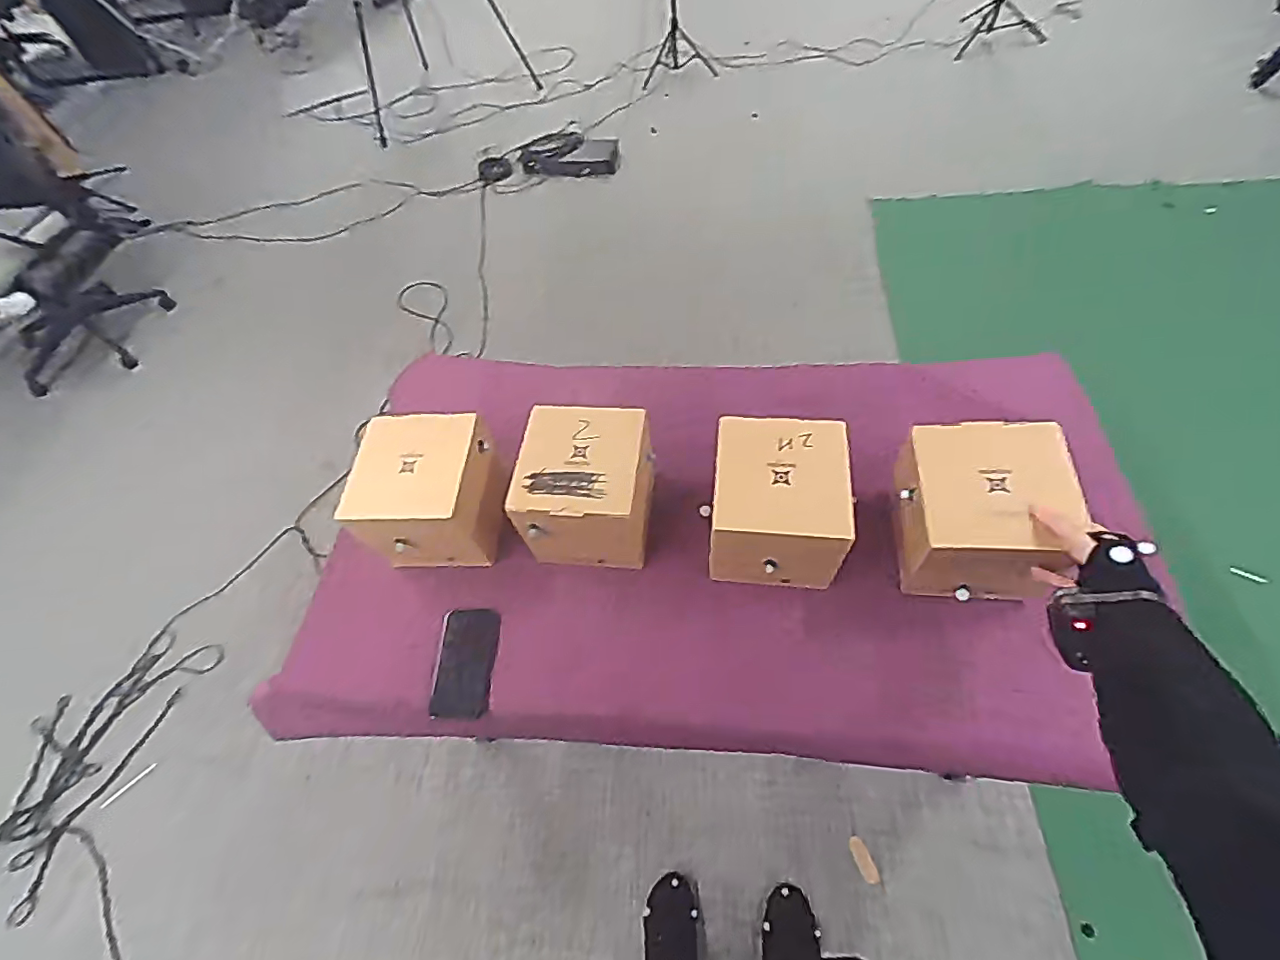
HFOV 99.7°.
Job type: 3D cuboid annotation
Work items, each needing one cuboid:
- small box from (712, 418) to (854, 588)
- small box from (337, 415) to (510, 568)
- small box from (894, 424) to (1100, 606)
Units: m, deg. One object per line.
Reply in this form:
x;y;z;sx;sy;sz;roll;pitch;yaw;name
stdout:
0.188;0.036;0.743;0.168;0.176;0.179;3;58;9;small box
-0.308;0.025;0.814;0.168;0.176;0.179;-2;57;6;small box
0.437;0.046;0.699;0.168;0.176;0.179;1;58;15;small box
